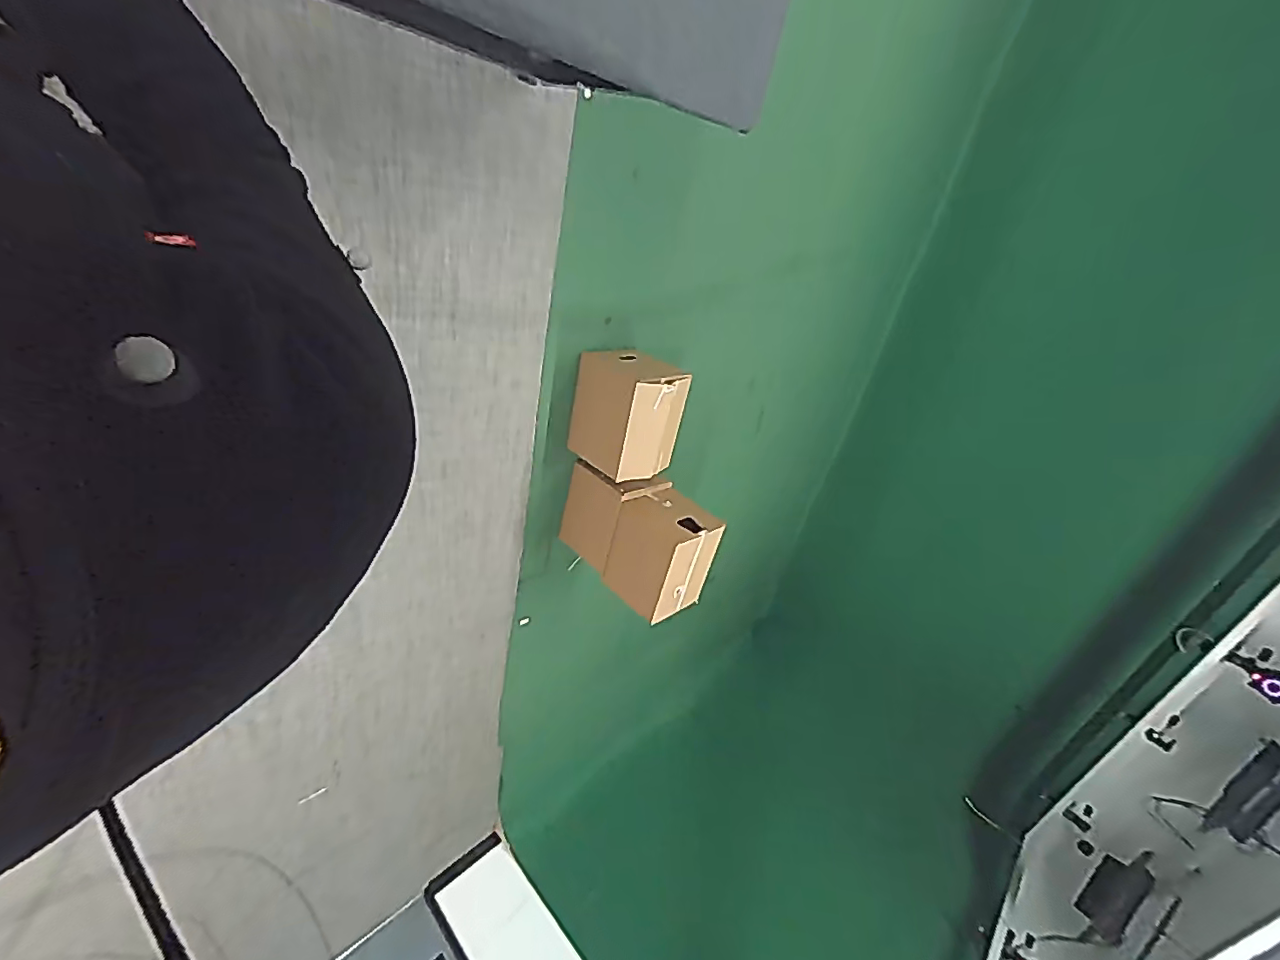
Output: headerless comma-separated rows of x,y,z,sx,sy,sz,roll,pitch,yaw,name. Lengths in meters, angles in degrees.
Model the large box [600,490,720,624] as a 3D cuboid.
0.073,0.305,2.232,0.320,0.320,0.408,-14,130,-44,large box
